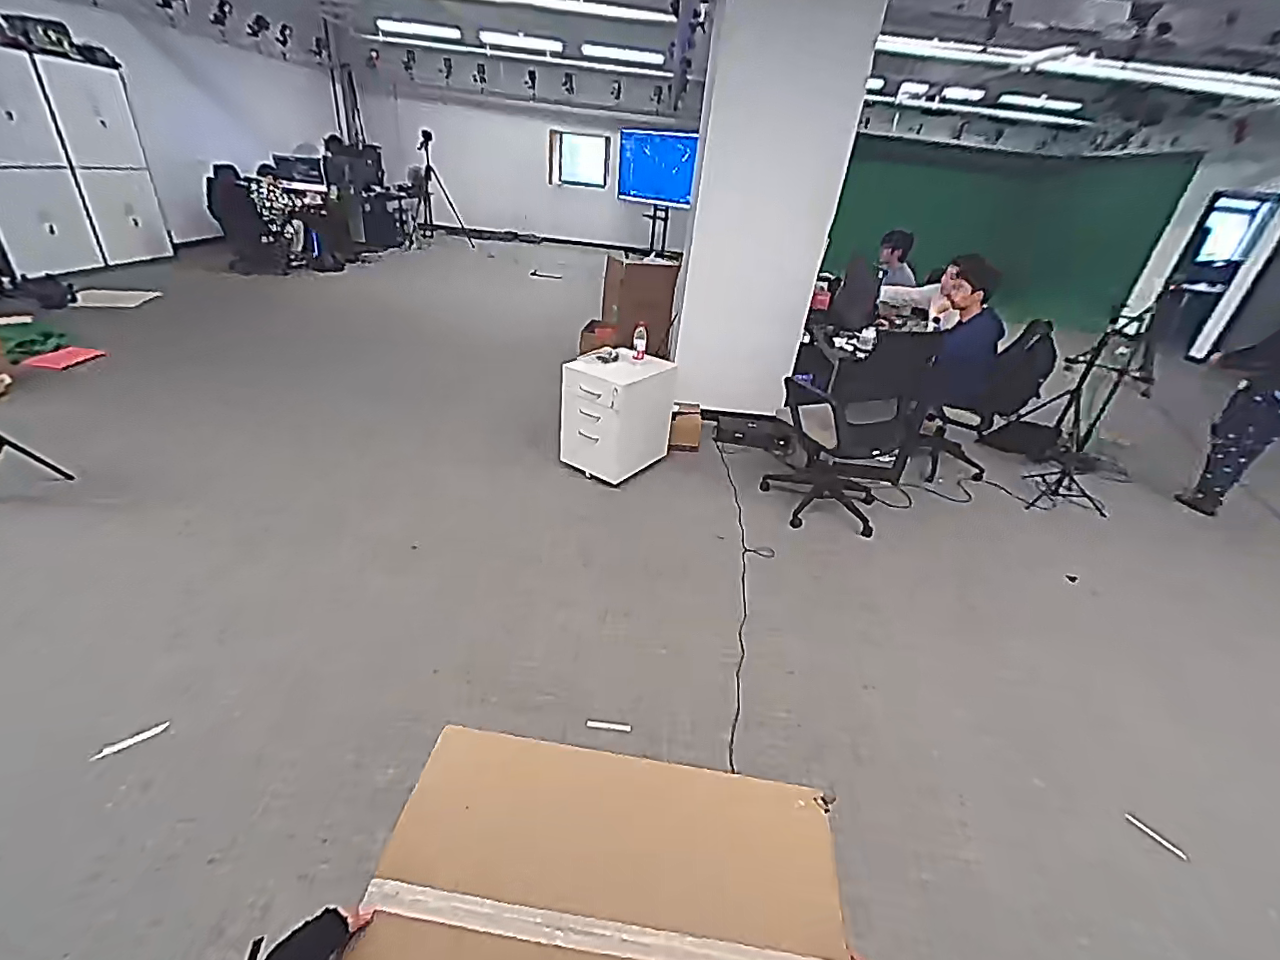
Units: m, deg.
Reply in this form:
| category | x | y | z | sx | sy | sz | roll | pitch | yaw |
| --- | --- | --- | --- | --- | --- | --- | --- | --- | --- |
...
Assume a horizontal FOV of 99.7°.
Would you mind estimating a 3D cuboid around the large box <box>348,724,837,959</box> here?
| category | x | y | z | sx | sy | sz | roll | pitch | yaw |
| --- | --- | --- | --- | --- | --- | --- | --- | --- | --- |
| large box | -0.046 | 0.502 | 0.543 | 0.408 | 0.320 | 0.320 | 9 | 33 | 3 |
